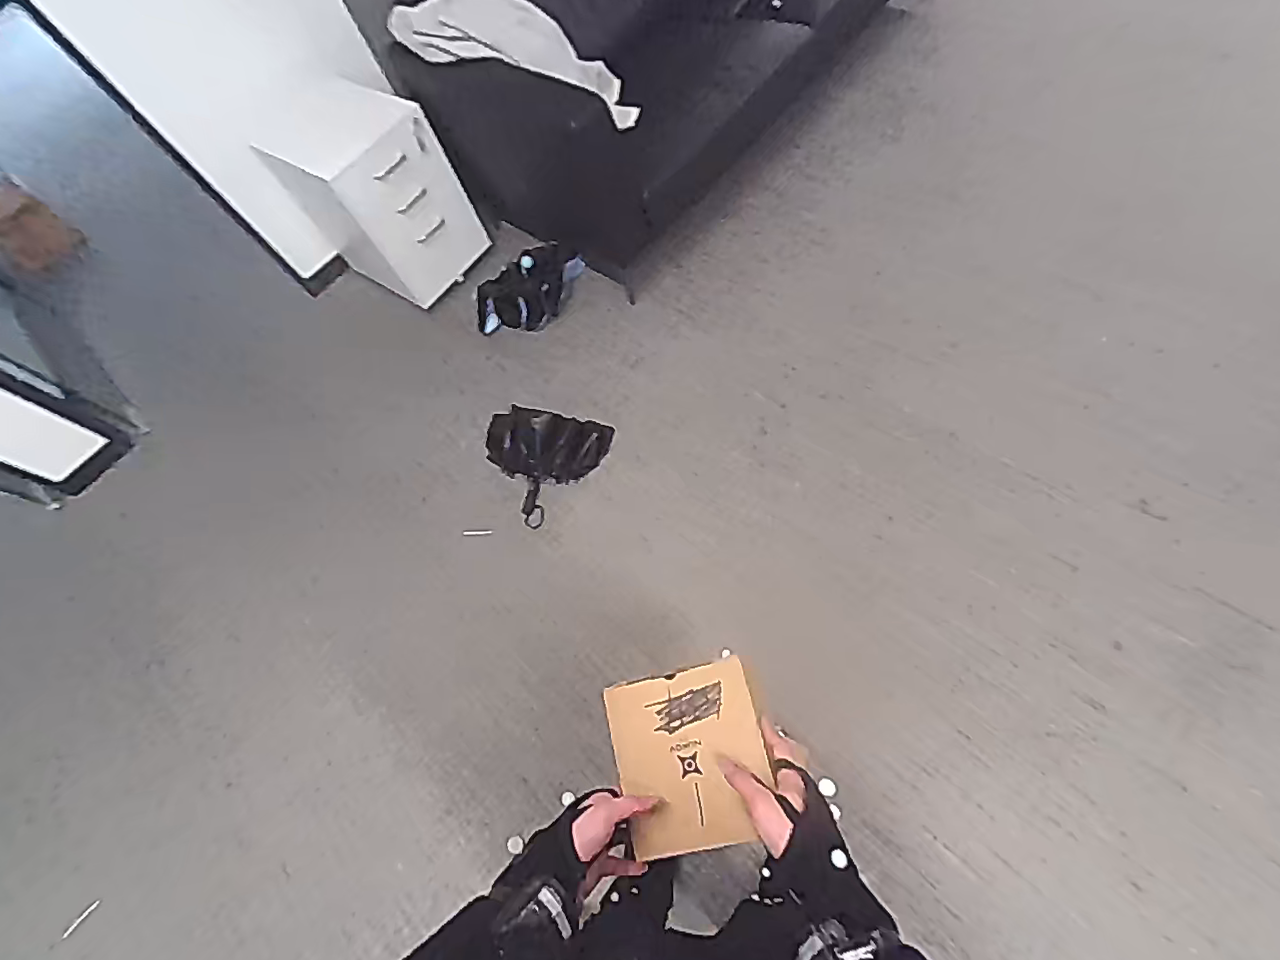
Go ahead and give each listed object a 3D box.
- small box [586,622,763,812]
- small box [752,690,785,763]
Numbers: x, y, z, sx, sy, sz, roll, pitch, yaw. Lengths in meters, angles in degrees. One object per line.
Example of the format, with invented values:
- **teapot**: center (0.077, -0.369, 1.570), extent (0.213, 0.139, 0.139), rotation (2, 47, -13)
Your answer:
- **small box**: center (0.049, 0.279, 0.666), extent (0.168, 0.176, 0.179), rotation (-15, 72, 13)
- **small box**: center (0.222, 0.571, 1.252), extent (0.168, 0.176, 0.179), rotation (25, 73, 18)
